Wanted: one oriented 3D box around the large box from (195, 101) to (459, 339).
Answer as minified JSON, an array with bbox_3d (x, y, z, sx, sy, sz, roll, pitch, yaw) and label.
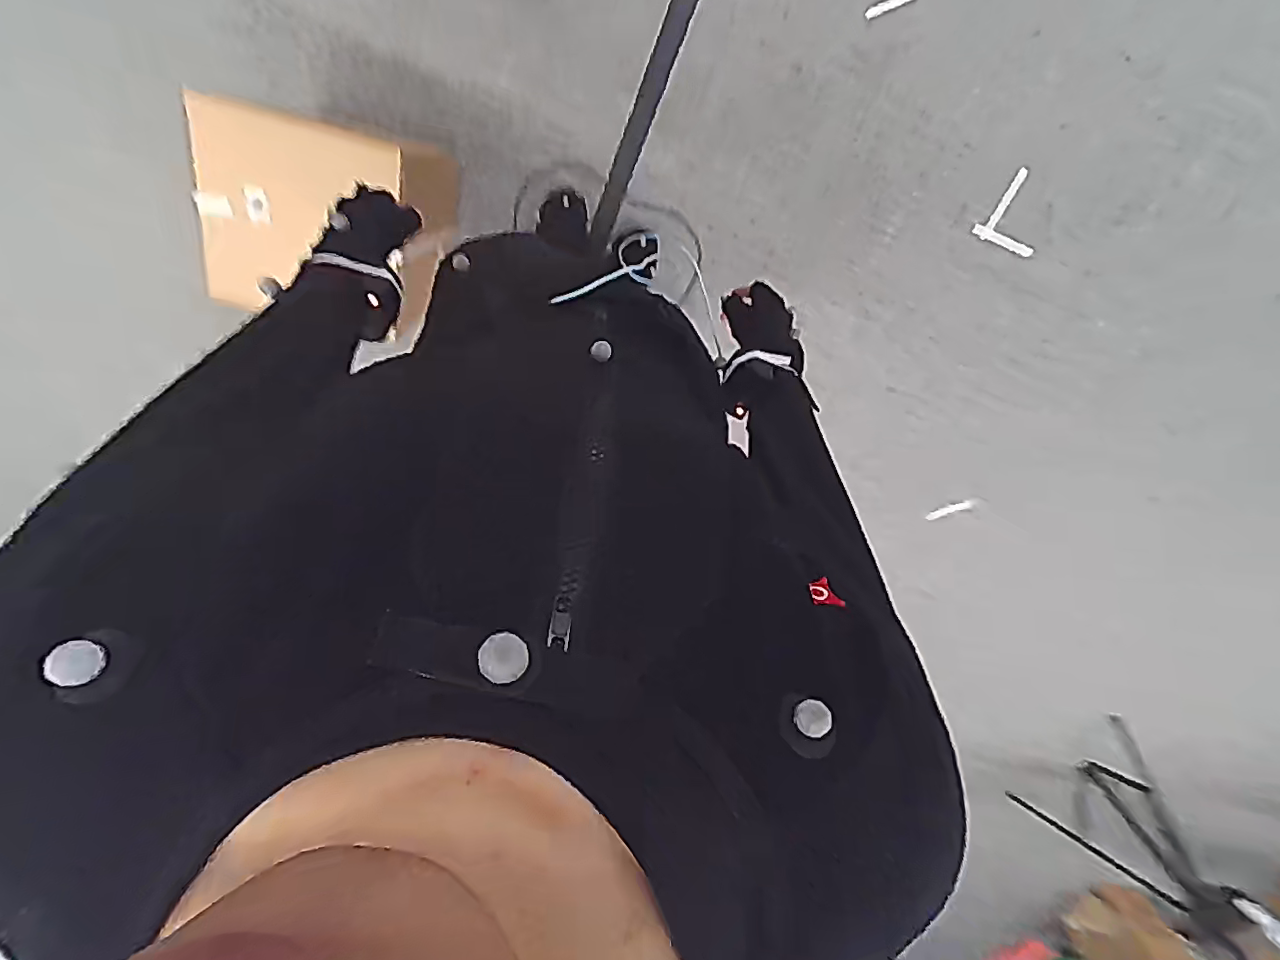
[{"bbox_3d":[-0.572,-0.518,1.071,0.320,0.408,0.320,12,120,-11],"label":"large box"}]
